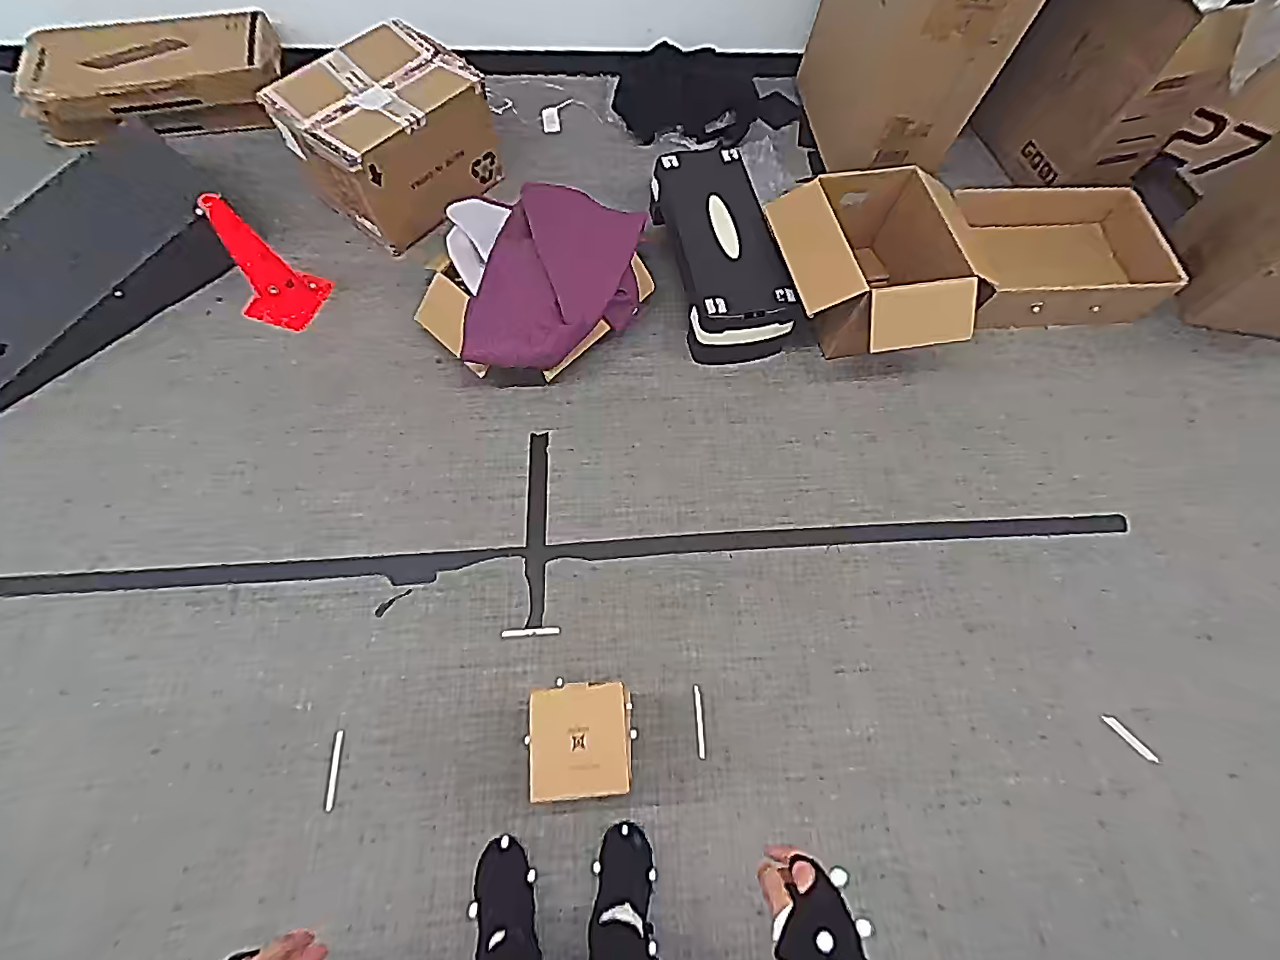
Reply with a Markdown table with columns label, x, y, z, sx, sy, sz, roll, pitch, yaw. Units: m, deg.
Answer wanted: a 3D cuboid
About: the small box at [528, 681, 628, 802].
| label | x | y | z | sx | sy | sz | roll | pitch | yaw |
| --- | --- | --- | --- | --- | --- | --- | --- | --- | --- |
| small box | -0.112 | 0.470 | 0.992 | 0.168 | 0.176 | 0.179 | -4 | 69 | -3 |
